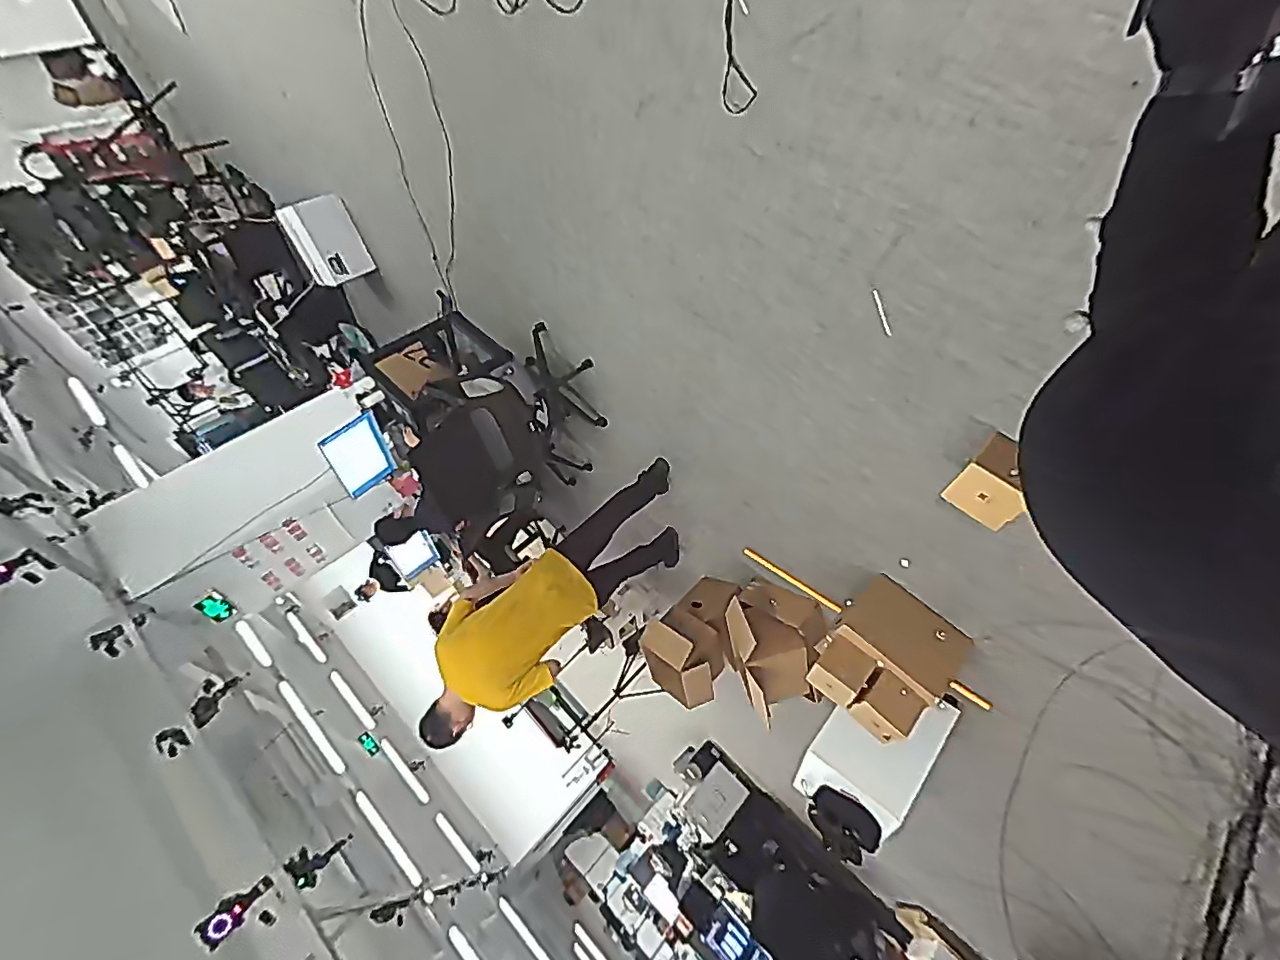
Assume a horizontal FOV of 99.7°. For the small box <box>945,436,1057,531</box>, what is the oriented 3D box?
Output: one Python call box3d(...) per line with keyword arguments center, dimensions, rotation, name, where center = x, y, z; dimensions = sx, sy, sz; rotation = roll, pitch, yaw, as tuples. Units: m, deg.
box3d(center=(1.011, 0.002, 1.518), dimensions=(0.179, 0.176, 0.168), rotation=(38, 150, 20), name="small box")
